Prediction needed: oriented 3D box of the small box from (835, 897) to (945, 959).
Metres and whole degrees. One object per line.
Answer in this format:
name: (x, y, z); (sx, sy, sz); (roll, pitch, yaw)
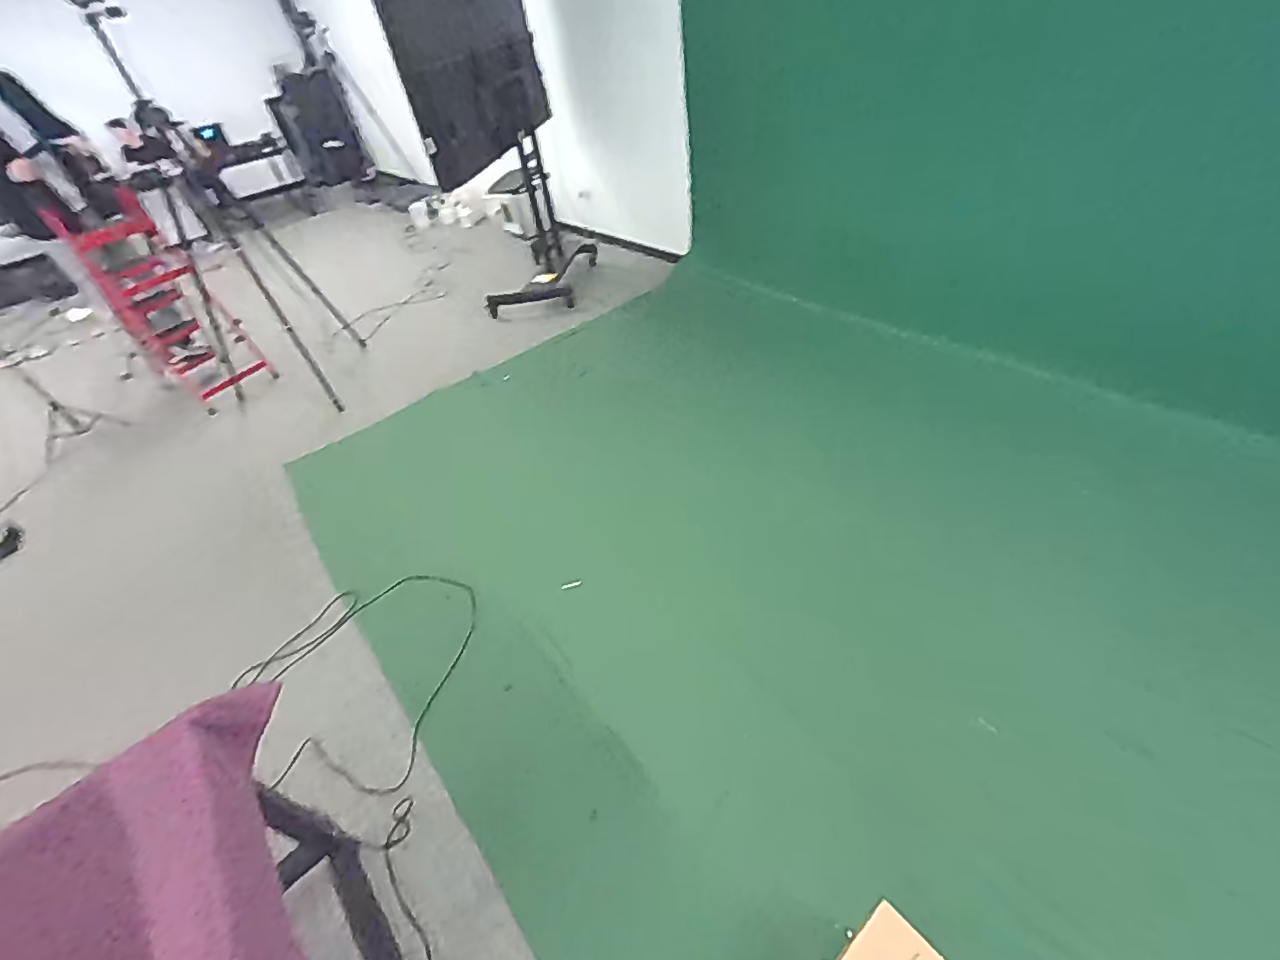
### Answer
small box: (0.458, 0.929, 0.994); (0.179, 0.176, 0.168); (-33, 47, -25)
